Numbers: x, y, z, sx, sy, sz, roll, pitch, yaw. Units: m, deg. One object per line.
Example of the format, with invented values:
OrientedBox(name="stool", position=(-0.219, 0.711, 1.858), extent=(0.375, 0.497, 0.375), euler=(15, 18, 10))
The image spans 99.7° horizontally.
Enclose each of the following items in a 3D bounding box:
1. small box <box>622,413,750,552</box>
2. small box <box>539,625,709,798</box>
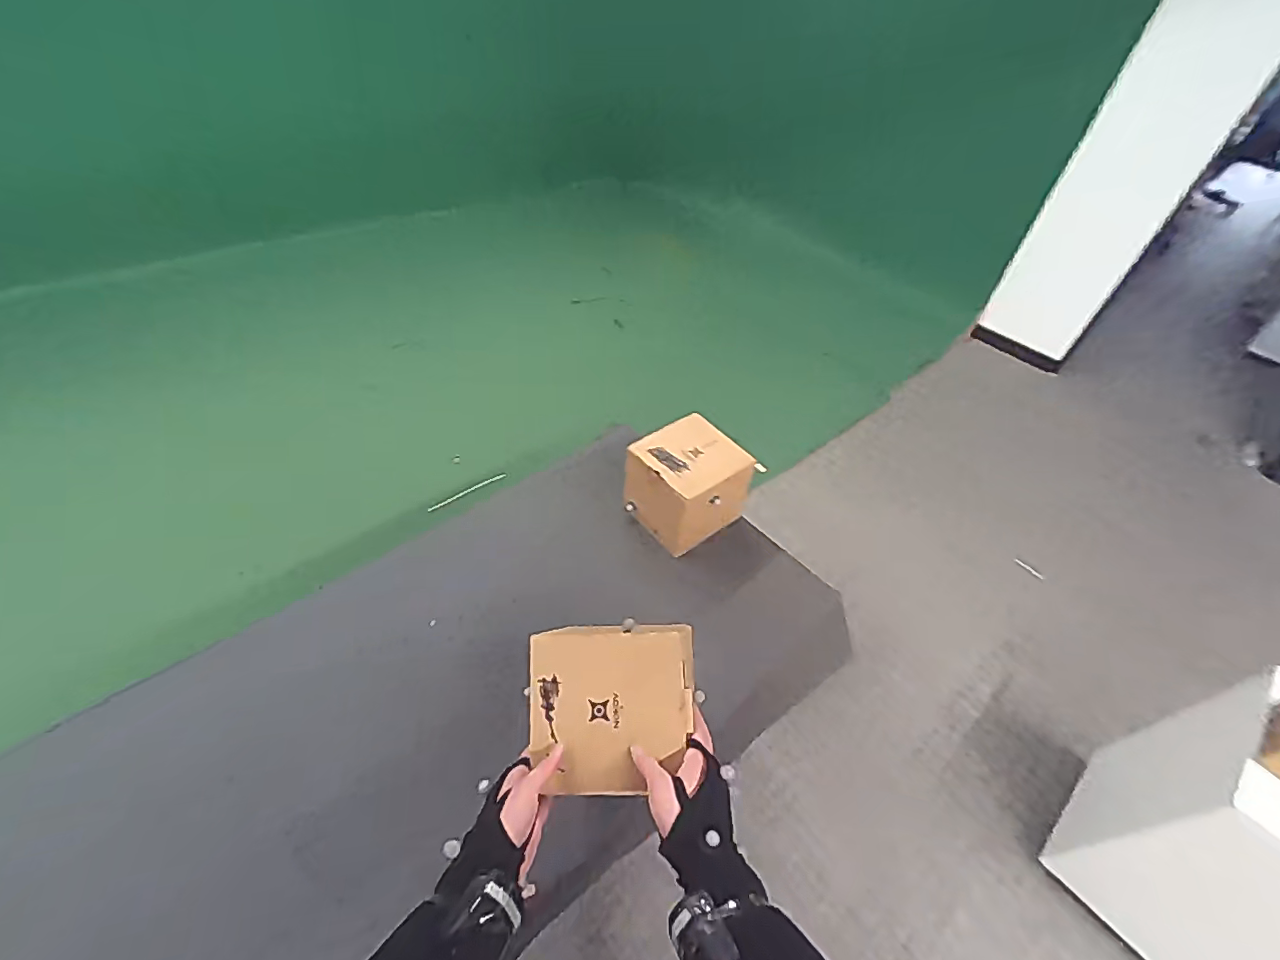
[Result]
OrientedBox(name="small box", position=(0.078, 0.007, 1.036), extent=(0.179, 0.176, 0.168), euler=(-28, 56, -31))
OrientedBox(name="small box", position=(-0.013, 0.260, 0.644), extent=(0.179, 0.176, 0.168), euler=(-1, 76, 4))
